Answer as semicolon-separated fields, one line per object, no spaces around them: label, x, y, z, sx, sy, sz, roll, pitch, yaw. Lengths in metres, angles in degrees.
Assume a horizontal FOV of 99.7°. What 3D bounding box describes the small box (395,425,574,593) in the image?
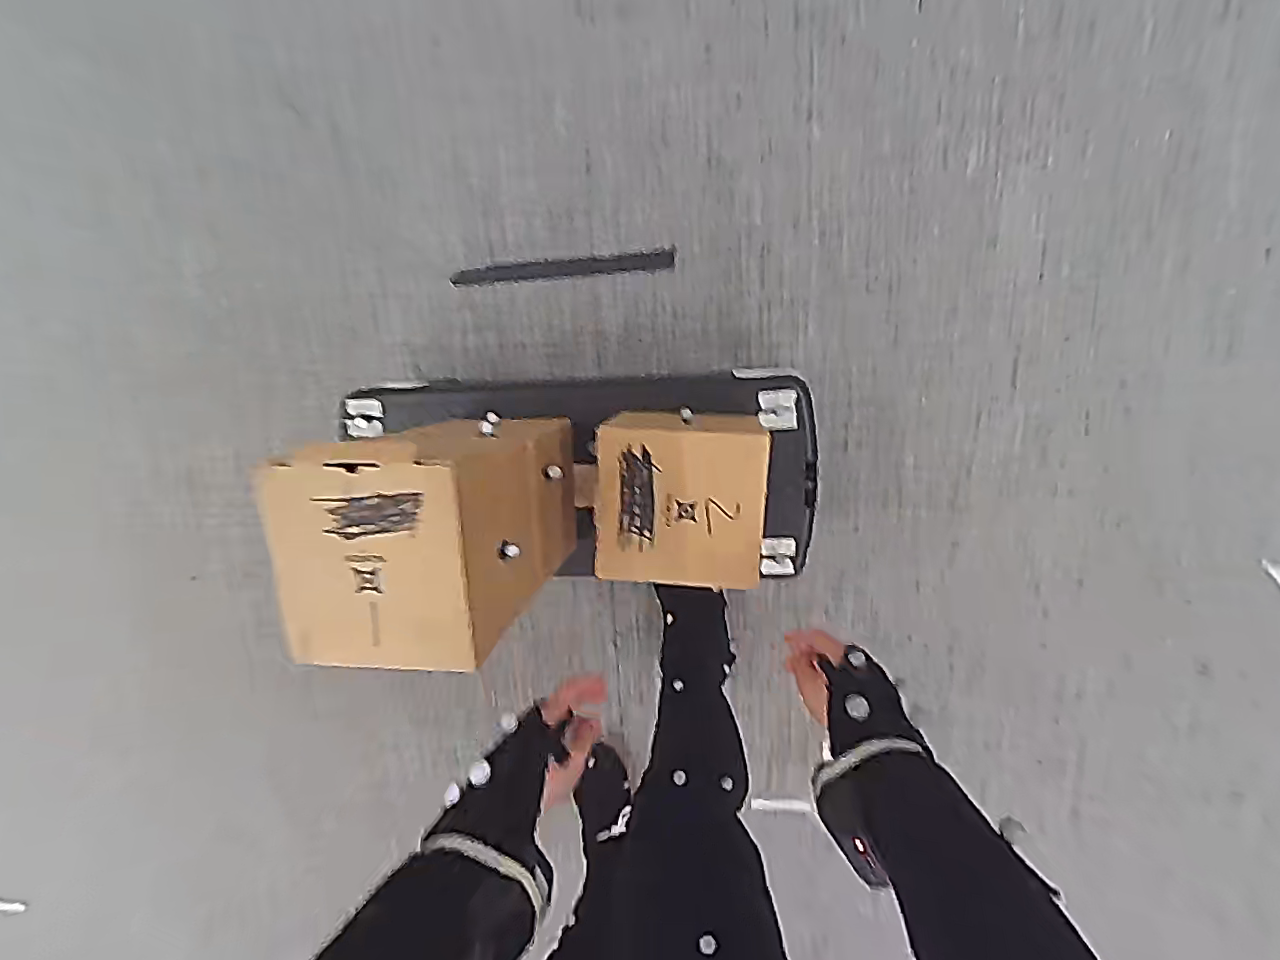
small box;-0.181;0.024;0.673;0.168;0.176;0.179;1;102;7

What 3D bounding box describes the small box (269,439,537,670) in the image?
small box;-0.203;0.055;0.513;0.168;0.176;0.179;0;102;7
